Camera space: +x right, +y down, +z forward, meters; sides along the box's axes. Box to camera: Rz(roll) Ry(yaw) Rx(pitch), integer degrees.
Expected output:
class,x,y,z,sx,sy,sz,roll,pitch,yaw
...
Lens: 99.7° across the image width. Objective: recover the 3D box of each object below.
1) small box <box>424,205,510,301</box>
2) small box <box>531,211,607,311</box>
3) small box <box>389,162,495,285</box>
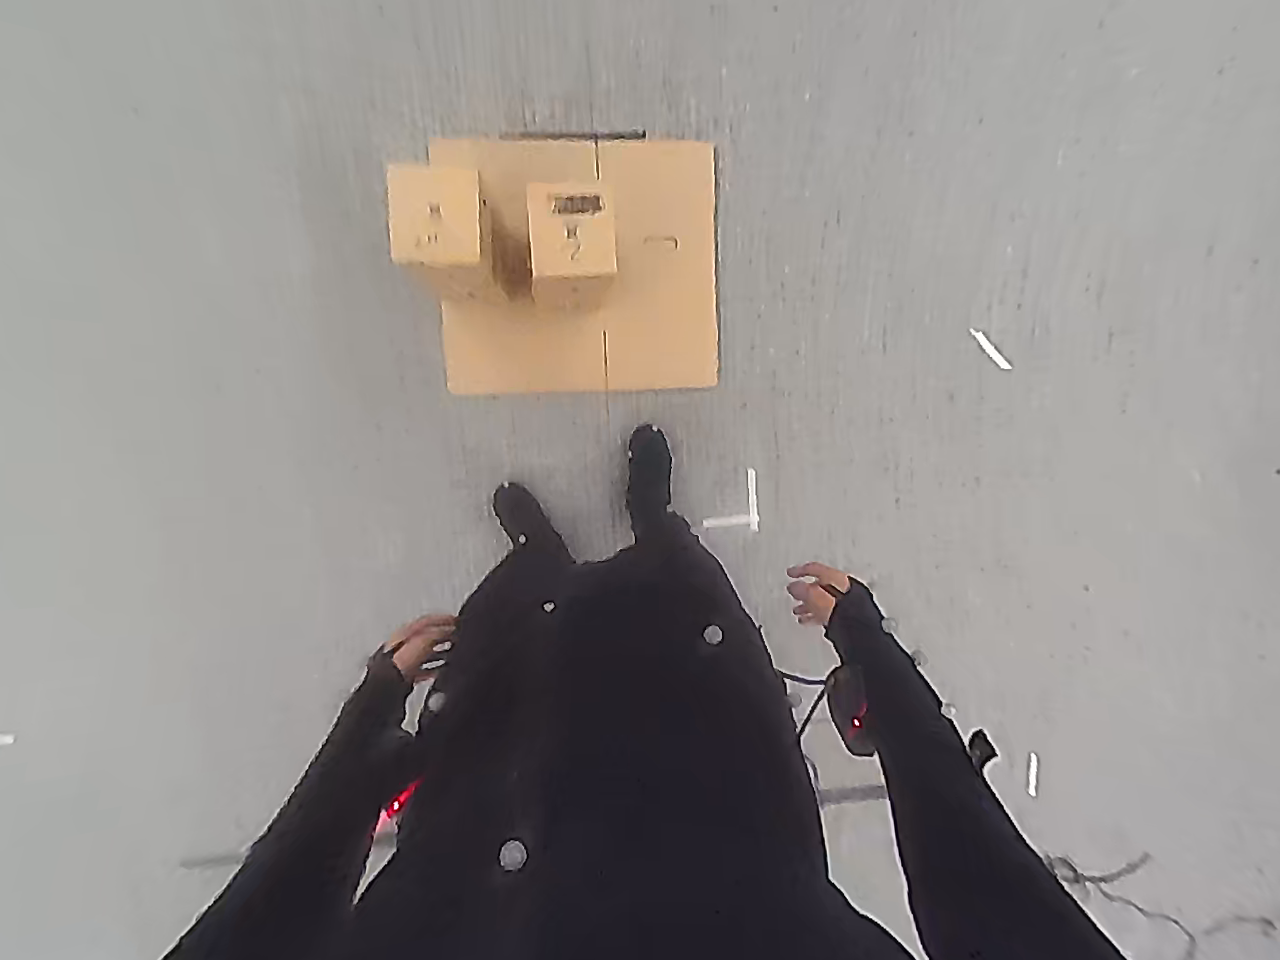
class,x,y,z,sx,sy,sz,roll,pitch,yaw
small box,-0.395,-0.517,1.249,0.168,0.176,0.179,0,98,-5
small box,-0.167,-0.508,1.273,0.168,0.176,0.179,1,97,-6
small box,-0.390,-0.504,1.084,0.168,0.176,0.179,0,97,-5
